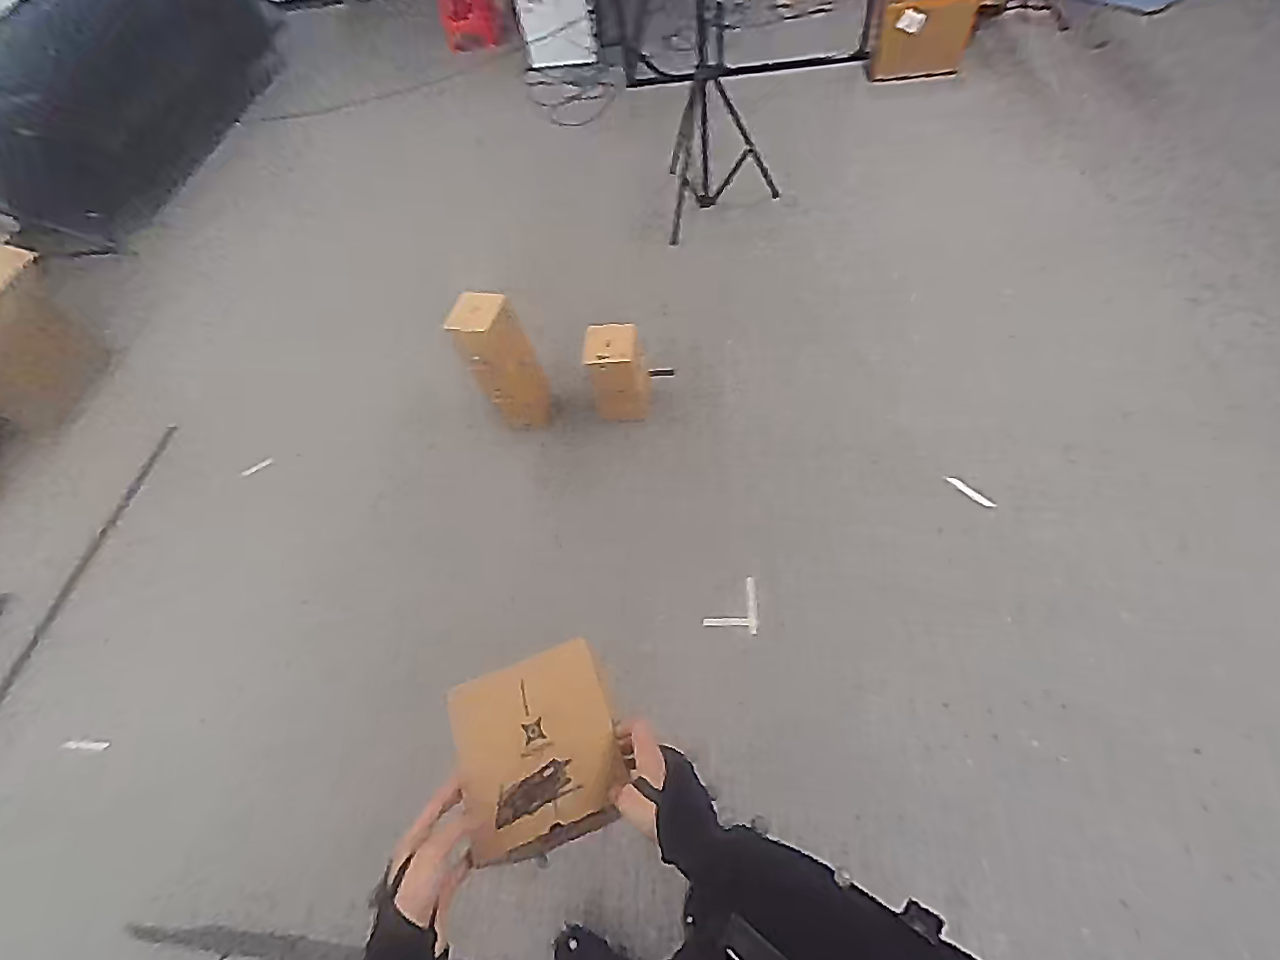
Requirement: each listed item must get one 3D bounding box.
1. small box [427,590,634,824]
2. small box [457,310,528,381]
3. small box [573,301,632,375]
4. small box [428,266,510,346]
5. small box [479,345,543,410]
[{"bbox_3d":[-0.113,0.253,0.597,0.168,0.176,0.179,-19,57,-7],"label":"small box"},{"bbox_3d":[-0.503,-0.468,1.875,0.168,0.176,0.179,4,60,12],"label":"small box"},{"bbox_3d":[-0.120,-0.477,1.821,0.168,0.176,0.179,-1,58,8],"label":"small box"},{"bbox_3d":[-0.541,-0.561,1.744,0.168,0.176,0.179,9,61,15],"label":"small box"},{"bbox_3d":[-0.471,-0.381,2.008,0.168,0.176,0.179,1,59,10],"label":"small box"}]
